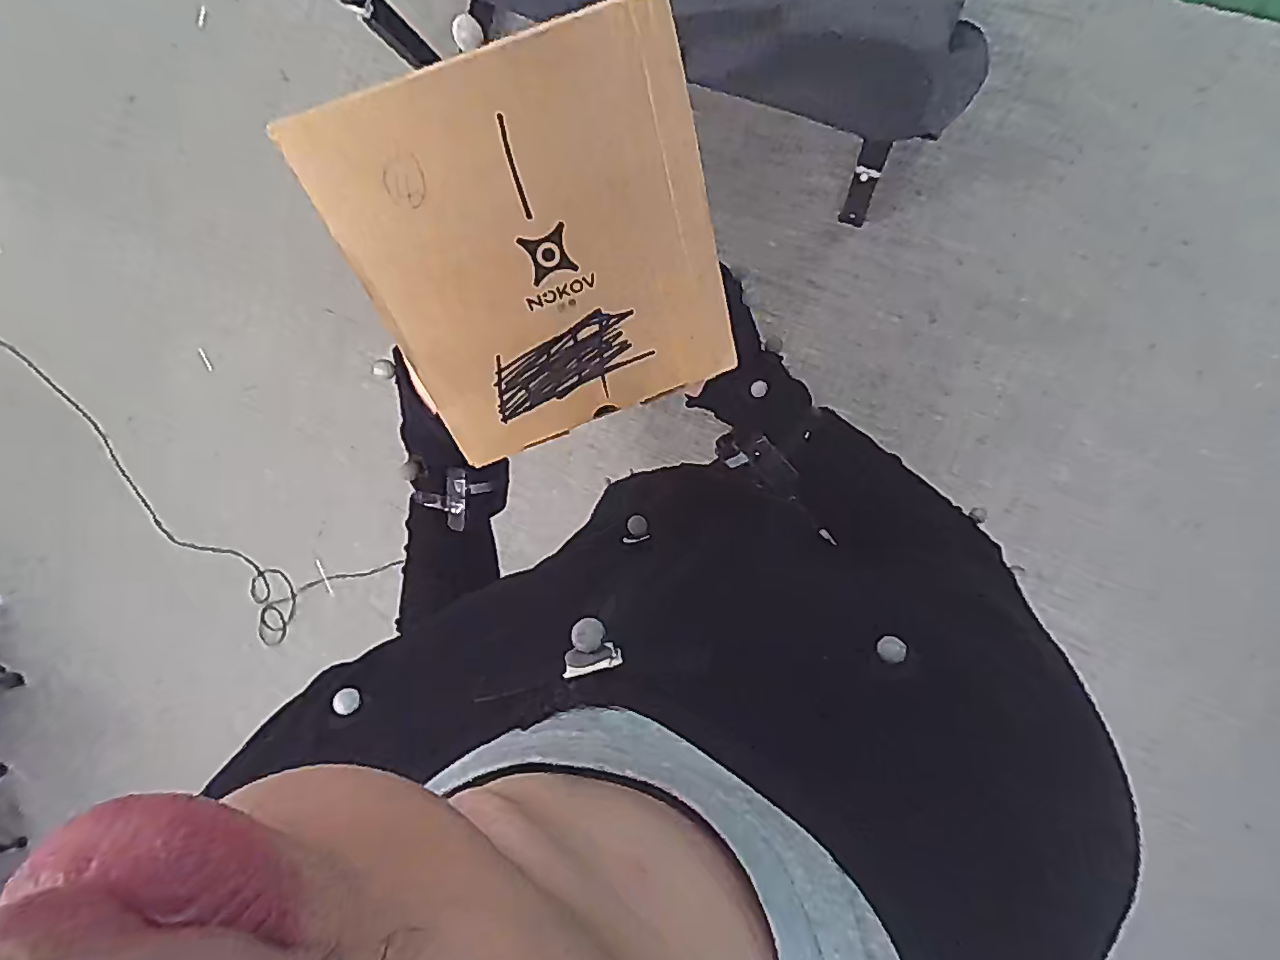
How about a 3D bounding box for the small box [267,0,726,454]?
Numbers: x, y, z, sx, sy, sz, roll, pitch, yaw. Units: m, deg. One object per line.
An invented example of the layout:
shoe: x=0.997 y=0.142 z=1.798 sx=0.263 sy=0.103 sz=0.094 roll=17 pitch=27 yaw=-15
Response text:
small box: x=-0.066 y=-0.151 z=0.324 sx=0.168 sy=0.176 sz=0.179 roll=-22 pitch=128 yaw=-3
